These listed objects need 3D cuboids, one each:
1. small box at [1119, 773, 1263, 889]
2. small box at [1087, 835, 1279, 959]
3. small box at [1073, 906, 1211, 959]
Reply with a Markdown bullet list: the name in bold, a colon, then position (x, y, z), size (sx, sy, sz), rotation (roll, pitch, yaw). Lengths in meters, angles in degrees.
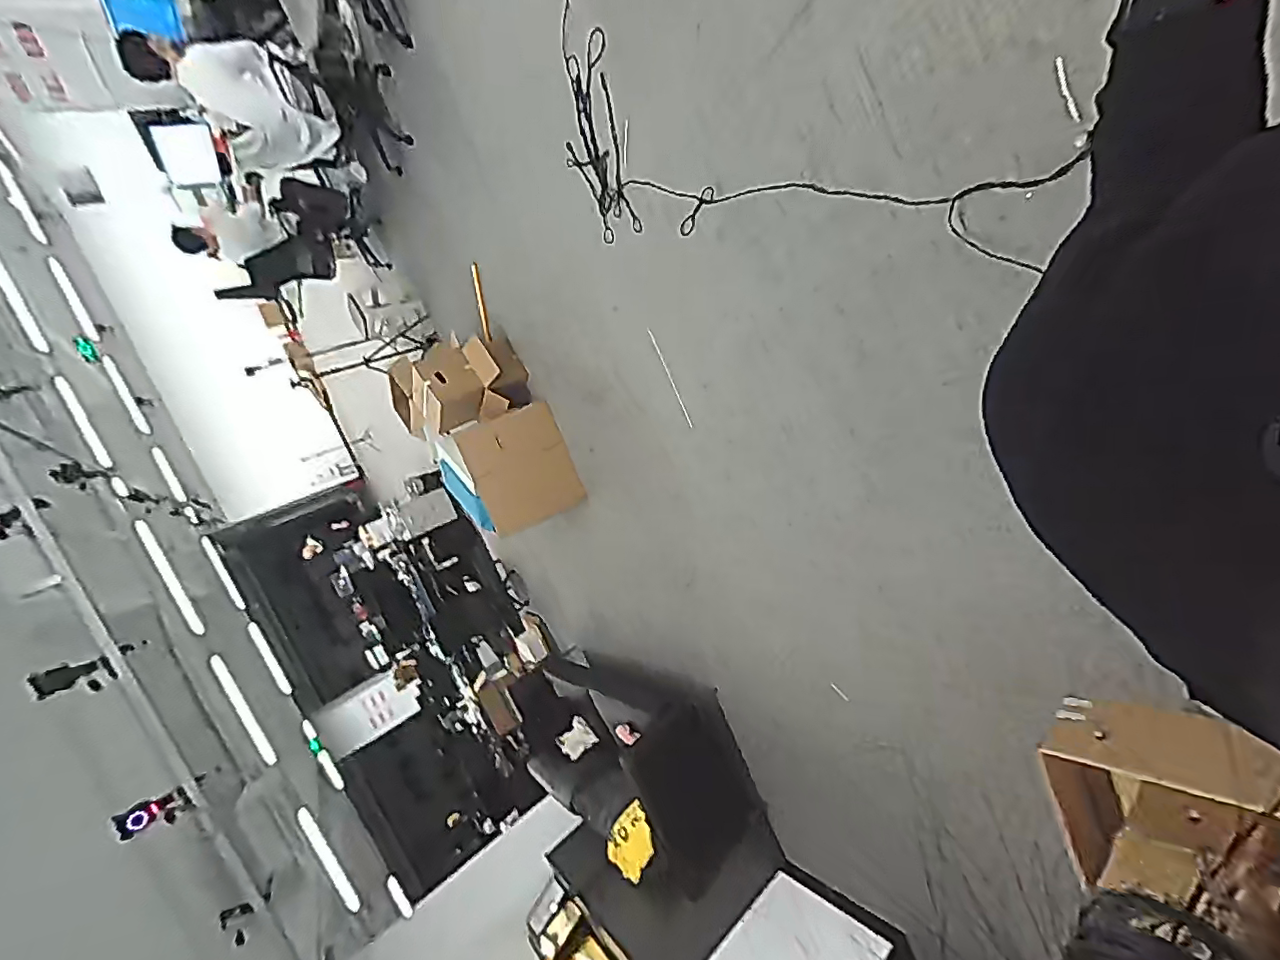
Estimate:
- **small box**: position (1.009, 0.688, 0.993), size (0.168, 0.176, 0.179), rotation (5, 116, 53)
- **small box**: position (0.889, 0.728, 0.883), size (0.179, 0.176, 0.168), rotation (-27, 92, 56)
- **small box**: position (0.767, 0.799, 0.803), size (0.168, 0.176, 0.179), rotation (-12, 104, 55)
